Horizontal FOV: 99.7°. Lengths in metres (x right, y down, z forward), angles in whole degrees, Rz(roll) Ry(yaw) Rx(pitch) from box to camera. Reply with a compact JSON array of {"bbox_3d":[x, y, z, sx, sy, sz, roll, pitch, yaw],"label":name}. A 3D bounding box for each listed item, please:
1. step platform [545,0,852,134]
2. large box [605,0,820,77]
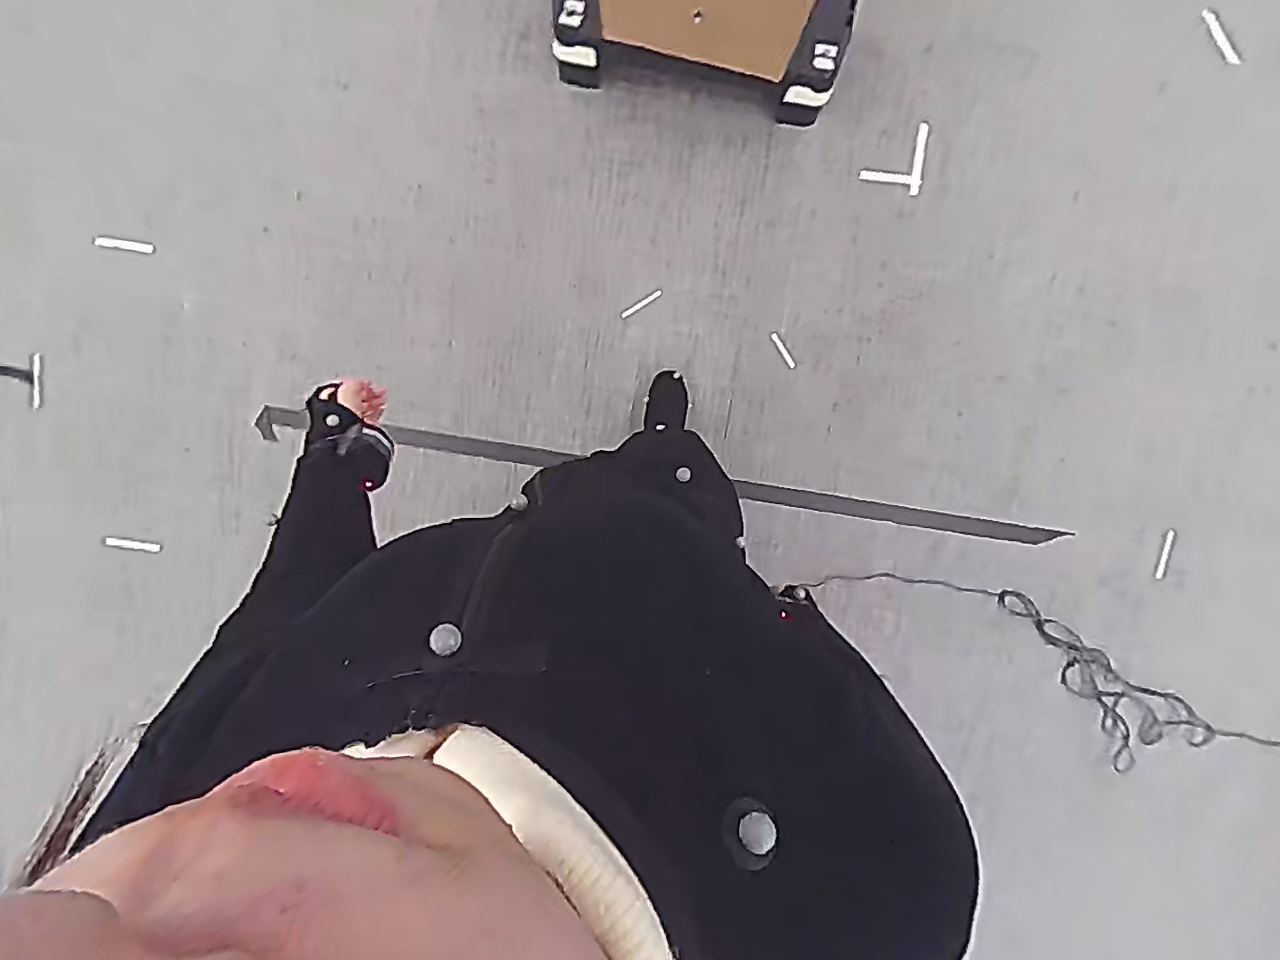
[{"bbox_3d":[0.130,-1.070,1.249,0.684,0.204,0.286,14,97,0],"label":"step platform"},{"bbox_3d":[0.154,-1.040,1.013,0.408,0.320,0.320,12,96,0],"label":"large box"}]
